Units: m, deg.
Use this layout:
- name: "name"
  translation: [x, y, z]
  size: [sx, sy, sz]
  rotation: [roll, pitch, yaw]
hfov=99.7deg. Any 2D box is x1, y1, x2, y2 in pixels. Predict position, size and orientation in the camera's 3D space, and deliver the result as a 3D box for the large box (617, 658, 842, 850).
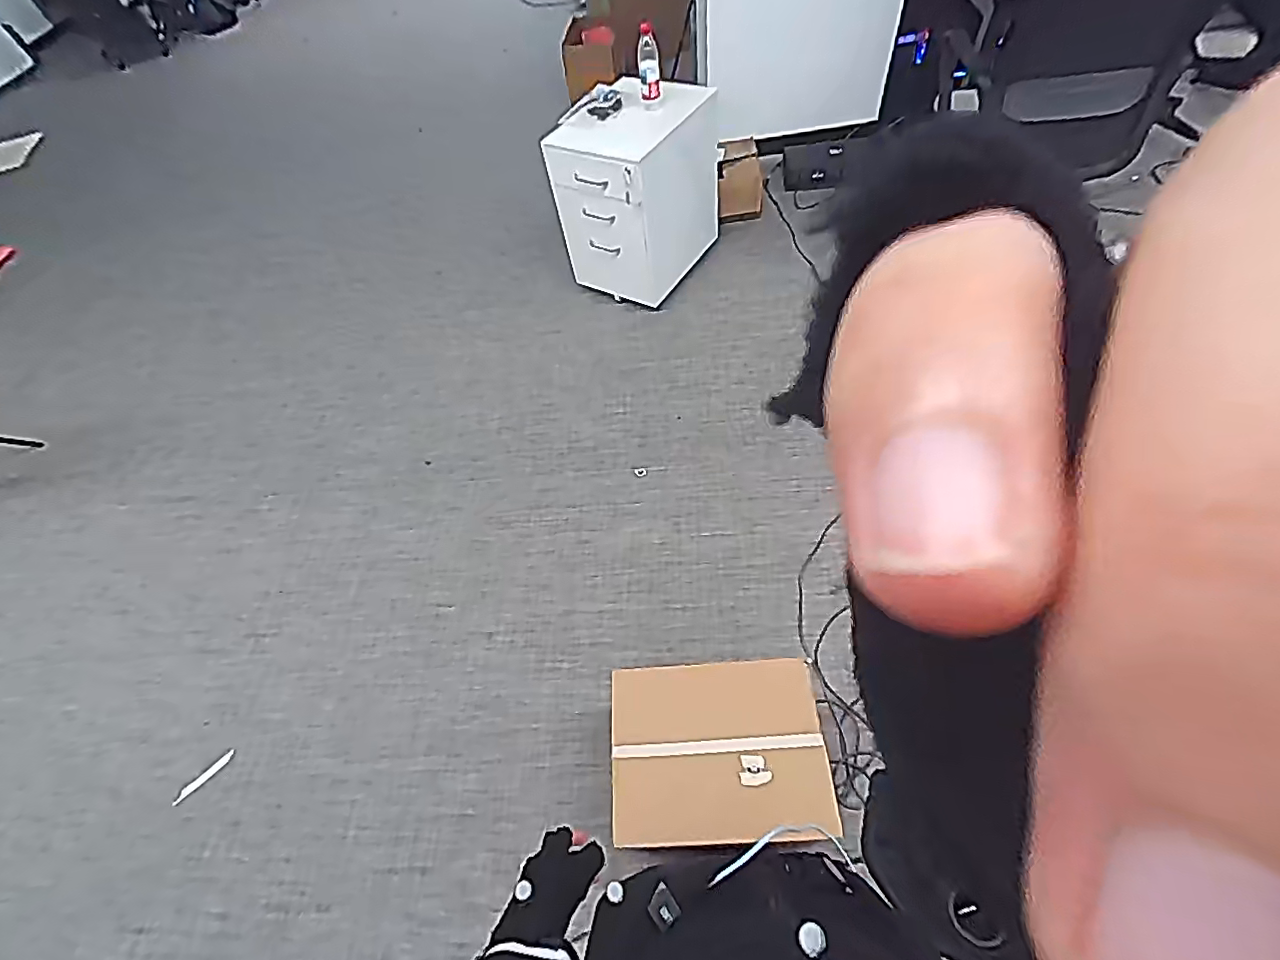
- name: "large box"
  translation: [0.169, 0.598, 1.164]
  size: [0.408, 0.320, 0.320]
  rotation: [-5, 55, 4]
